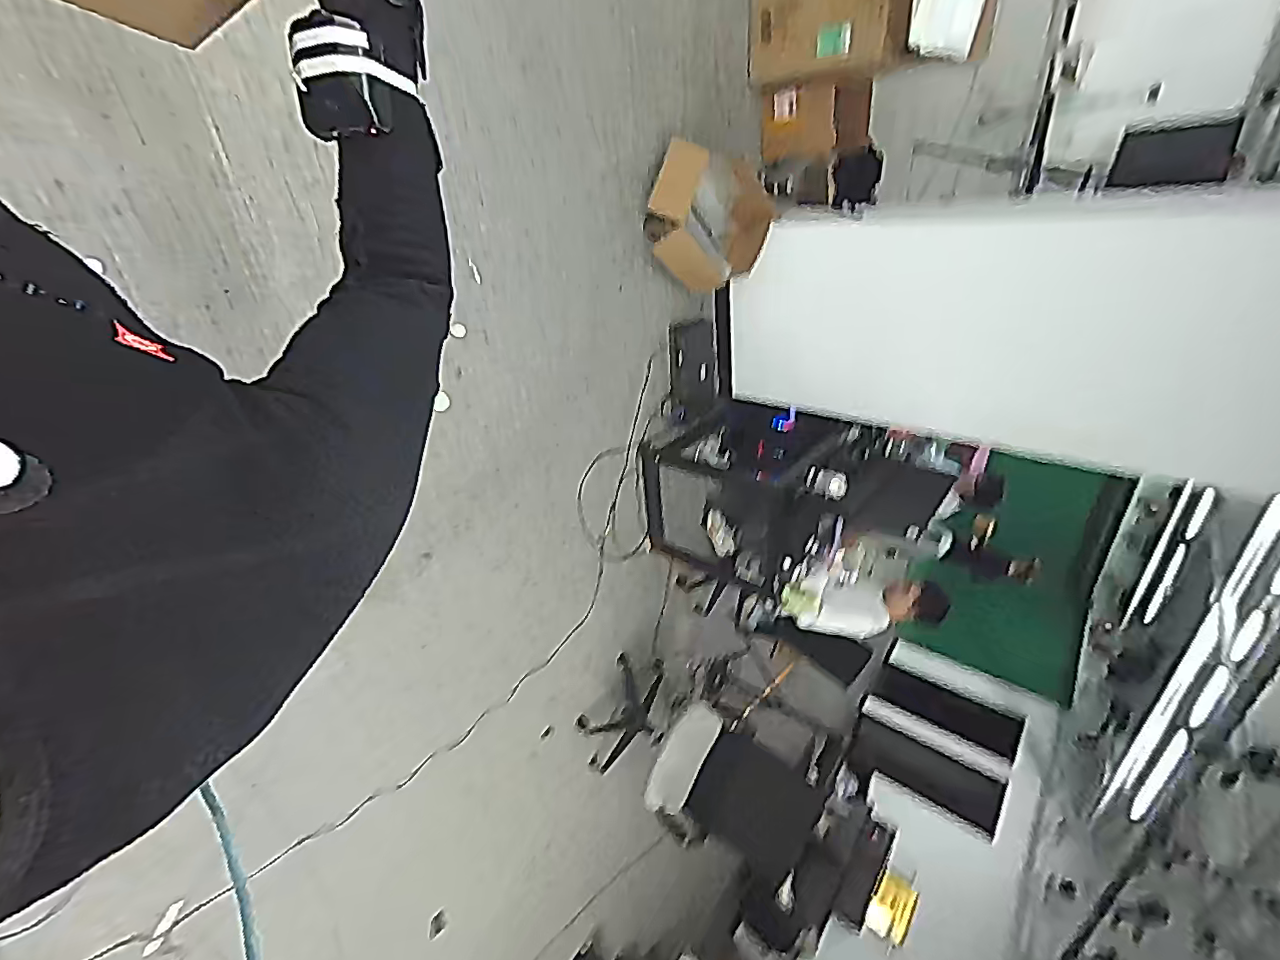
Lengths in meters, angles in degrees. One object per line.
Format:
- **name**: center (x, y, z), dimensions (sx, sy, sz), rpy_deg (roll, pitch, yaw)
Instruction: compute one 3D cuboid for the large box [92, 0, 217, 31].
- **large box**: center (-0.452, -0.510, 0.255), dimensions (0.408, 0.320, 0.320), rpy_deg (-10, 117, -48)
